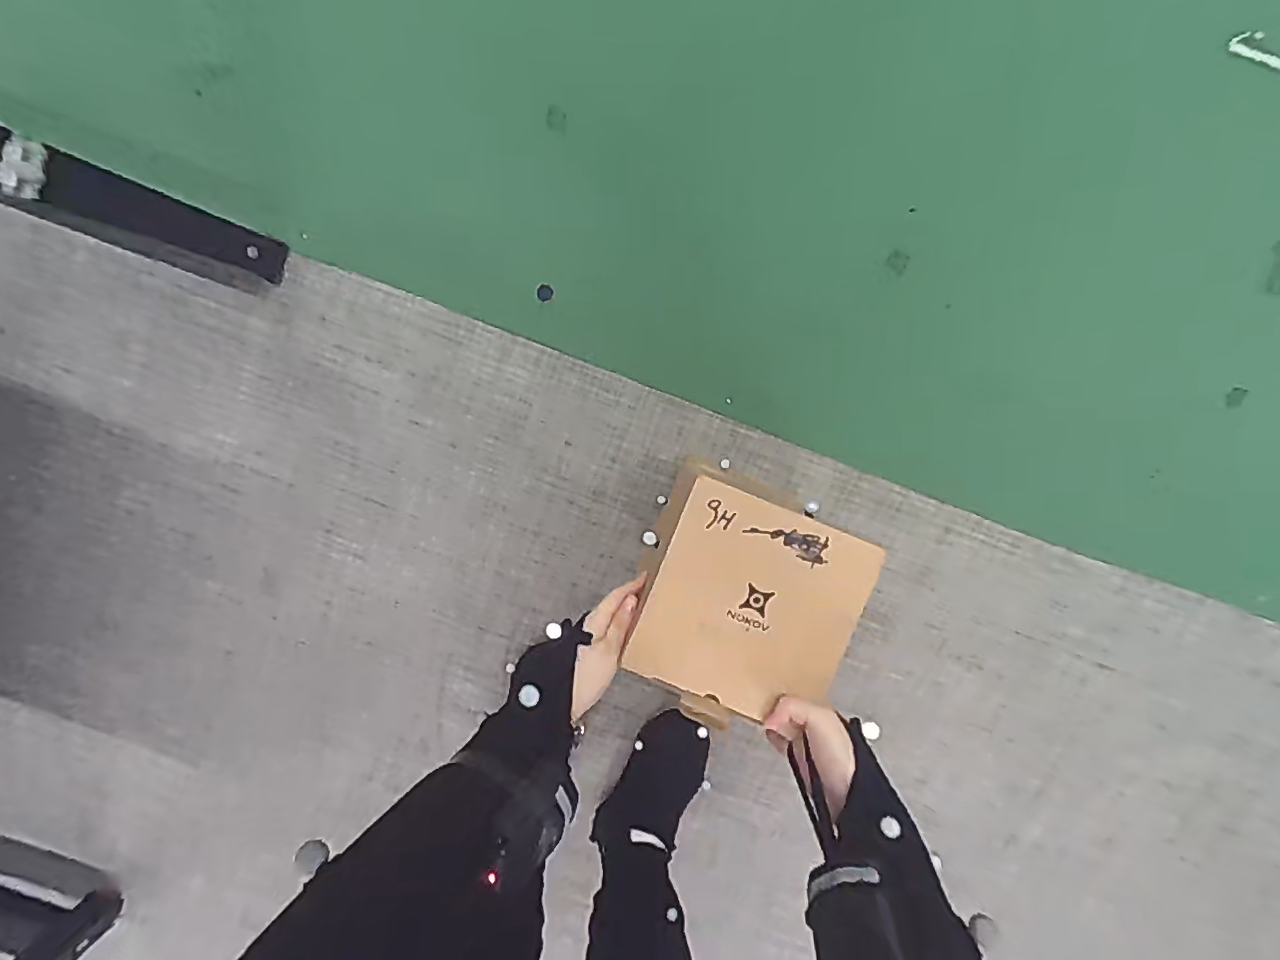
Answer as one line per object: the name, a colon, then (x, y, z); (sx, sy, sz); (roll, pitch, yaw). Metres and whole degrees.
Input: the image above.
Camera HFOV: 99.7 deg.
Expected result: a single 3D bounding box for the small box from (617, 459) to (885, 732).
small box: (0.092, 0.090, 0.512); (0.168, 0.176, 0.179); (22, 95, 1)
